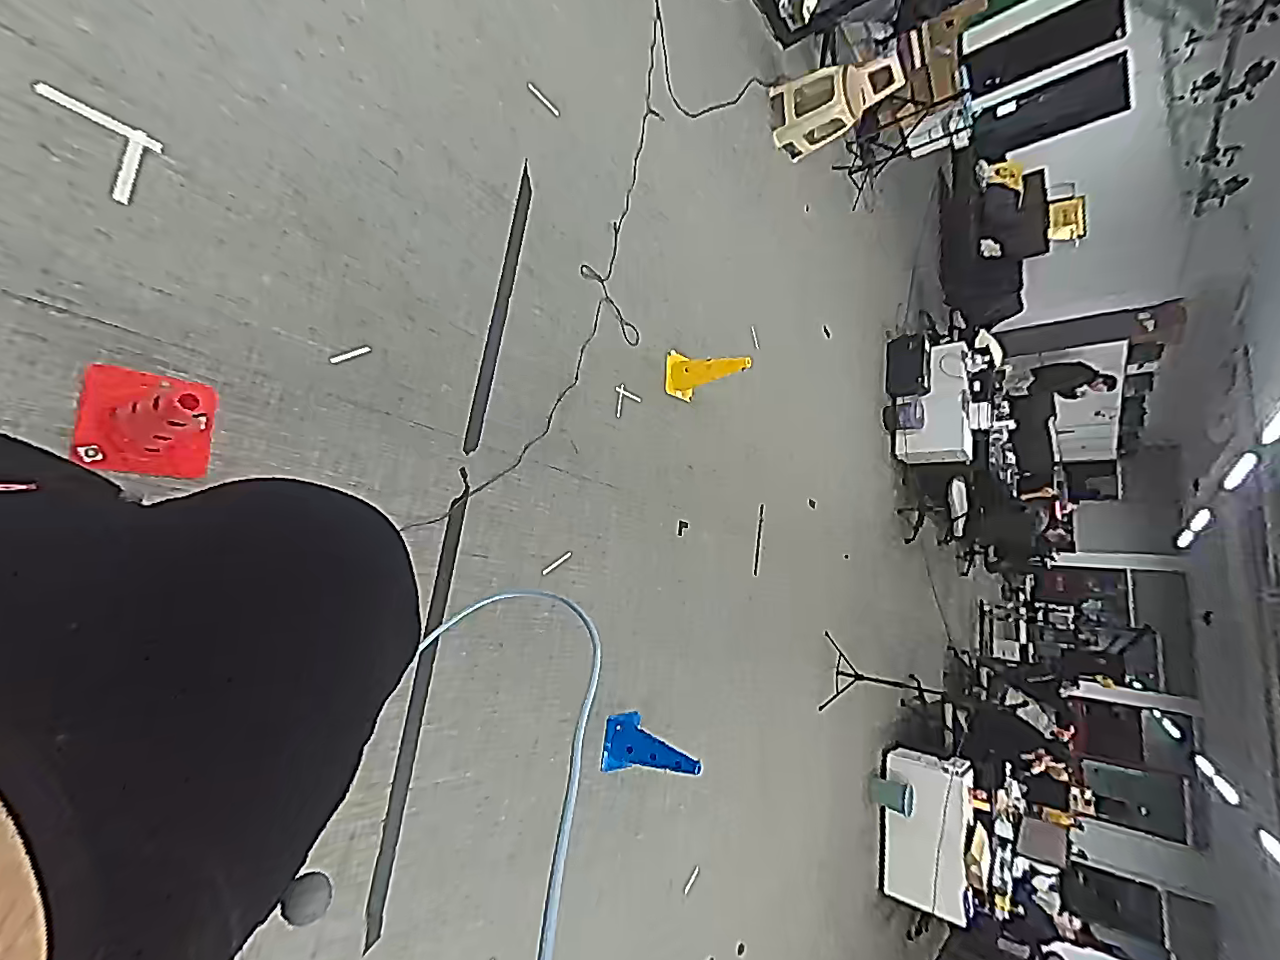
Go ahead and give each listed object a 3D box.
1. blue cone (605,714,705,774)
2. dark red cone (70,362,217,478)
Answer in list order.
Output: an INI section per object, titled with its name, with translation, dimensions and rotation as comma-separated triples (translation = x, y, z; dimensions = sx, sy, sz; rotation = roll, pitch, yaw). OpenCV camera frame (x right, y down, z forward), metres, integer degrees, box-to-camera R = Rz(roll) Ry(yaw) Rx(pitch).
[blue cone]
translation = 0.063, 1.001, 1.972
dimensions = 0.192, 0.380, 0.193
rotation = 23, 71, -49
[dark red cone]
translation = -0.810, -0.118, 0.929
dimensions = 0.201, 0.394, 0.202
rotation = 10, 81, -51
